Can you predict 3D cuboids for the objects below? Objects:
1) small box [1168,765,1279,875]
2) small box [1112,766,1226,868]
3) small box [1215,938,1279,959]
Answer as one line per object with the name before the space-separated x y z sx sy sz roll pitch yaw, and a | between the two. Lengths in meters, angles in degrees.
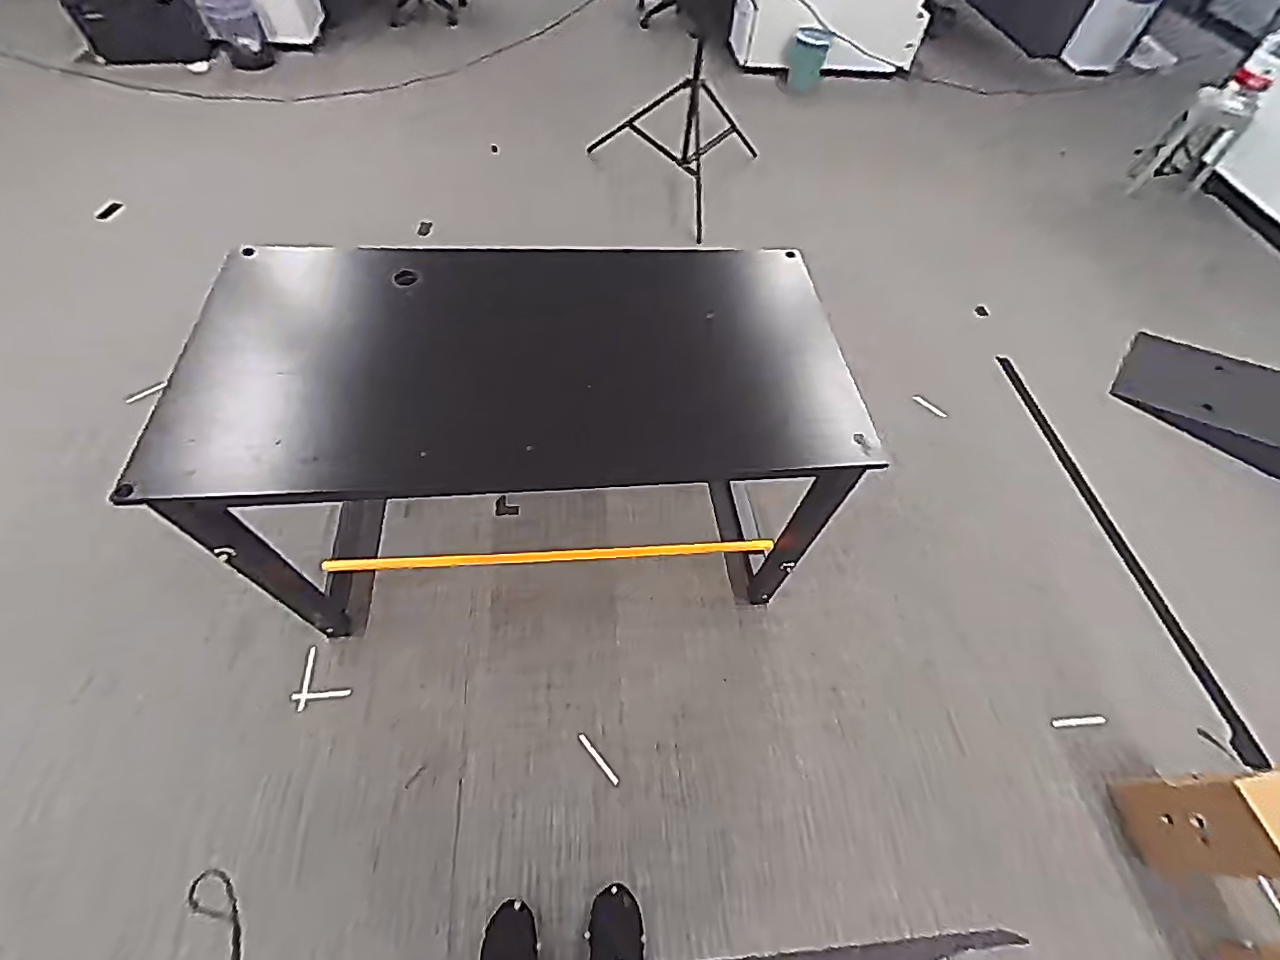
small box | 1.268 0.691 1.107 0.179 0.176 0.168 -7 56 -7
small box | 1.260 0.776 1.245 0.168 0.176 0.179 -4 58 -7
small box | 1.328 1.042 1.080 0.179 0.176 0.168 -3 57 -6
